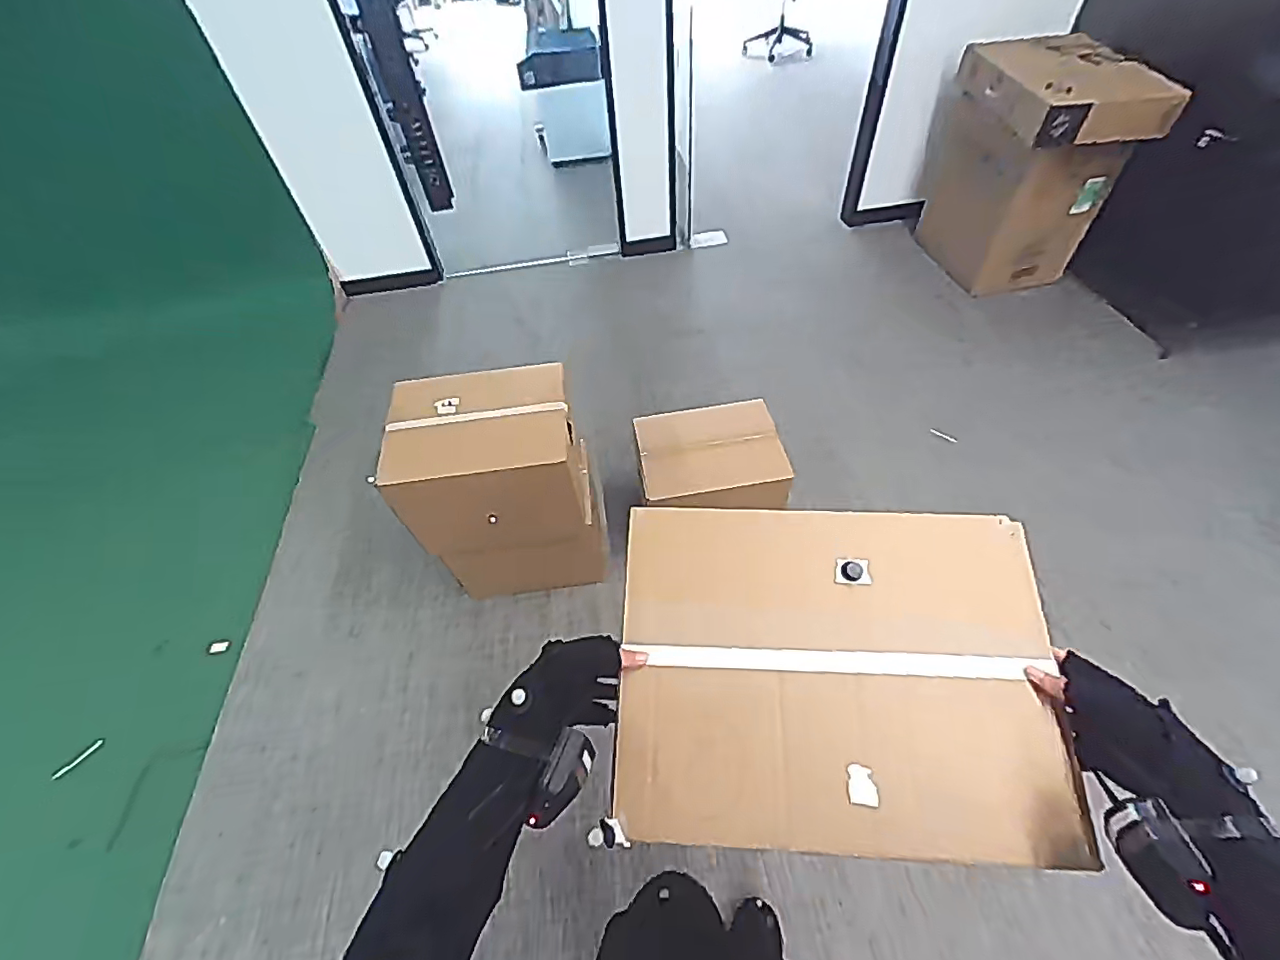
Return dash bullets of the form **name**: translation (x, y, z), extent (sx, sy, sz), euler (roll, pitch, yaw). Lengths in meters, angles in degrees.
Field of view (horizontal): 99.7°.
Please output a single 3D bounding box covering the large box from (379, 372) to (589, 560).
- **large box**: translation (-0.352, -0.027, 1.330), extent (0.408, 0.320, 0.320), euler (-7, 53, -1)
